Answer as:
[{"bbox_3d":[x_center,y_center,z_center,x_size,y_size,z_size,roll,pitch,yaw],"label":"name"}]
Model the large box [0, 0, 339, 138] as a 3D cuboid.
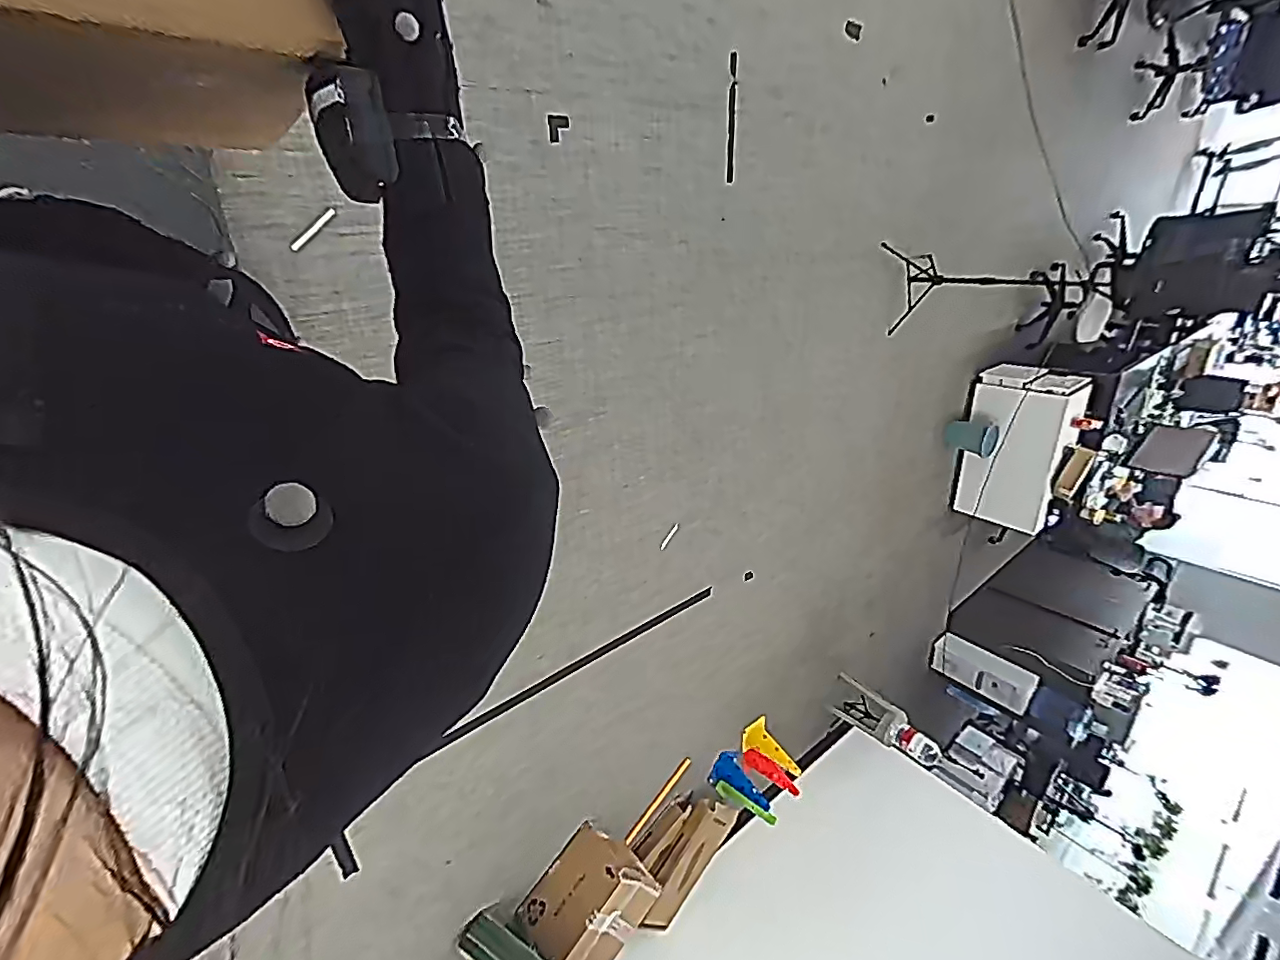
[{"bbox_3d":[-0.436,-0.381,0.262,0.408,0.320,0.320,-20,120,-35],"label":"large box"}]
